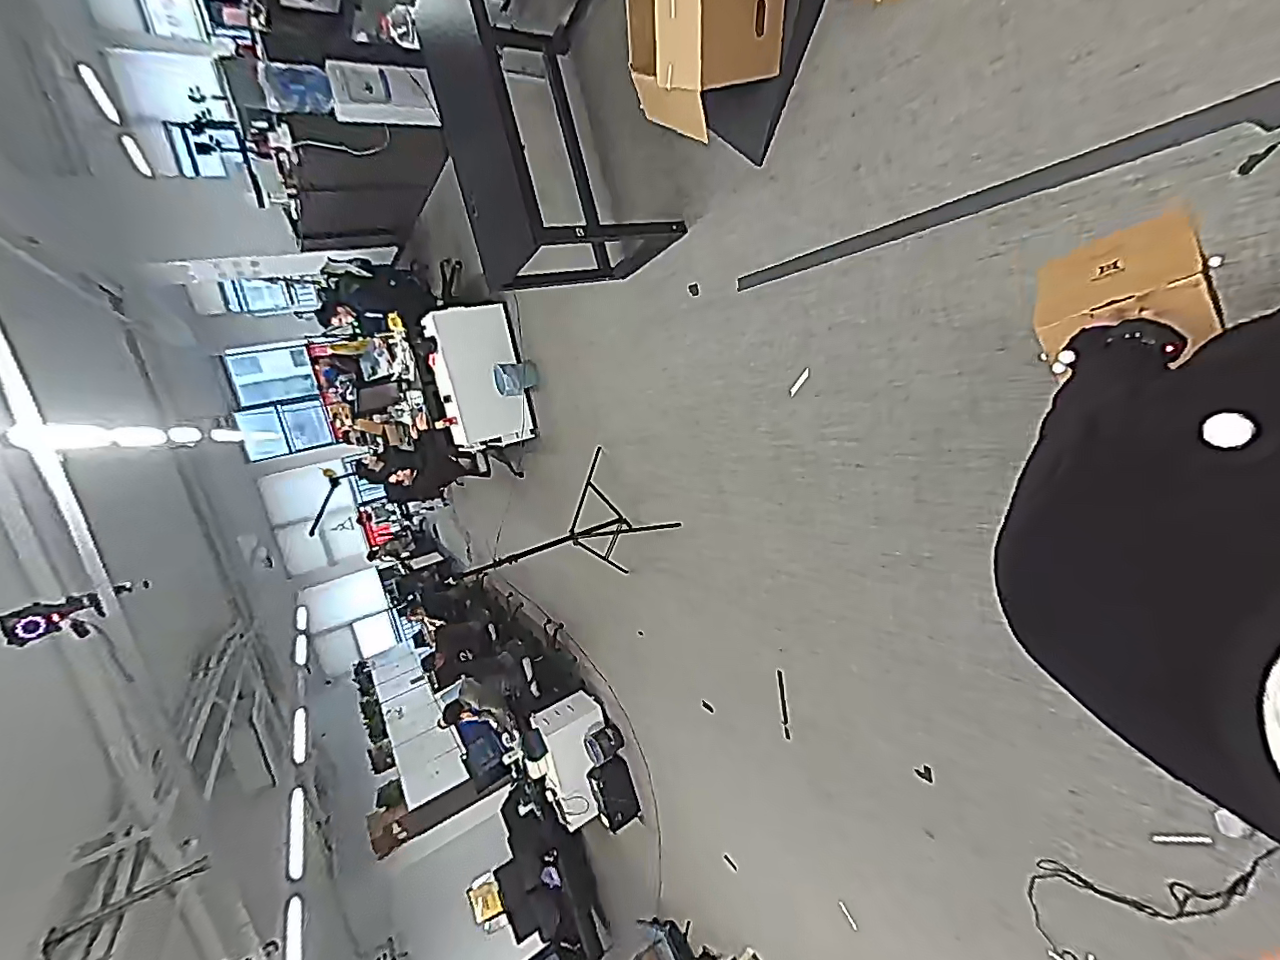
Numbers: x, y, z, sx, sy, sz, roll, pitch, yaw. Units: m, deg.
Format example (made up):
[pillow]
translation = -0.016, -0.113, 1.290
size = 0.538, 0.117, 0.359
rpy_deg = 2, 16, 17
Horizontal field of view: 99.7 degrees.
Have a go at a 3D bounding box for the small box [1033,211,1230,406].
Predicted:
[small box]
translation = 0.676, -0.223, 0.751
size = 0.176, 0.179, 0.168
rpy_deg = 47, 145, -22
